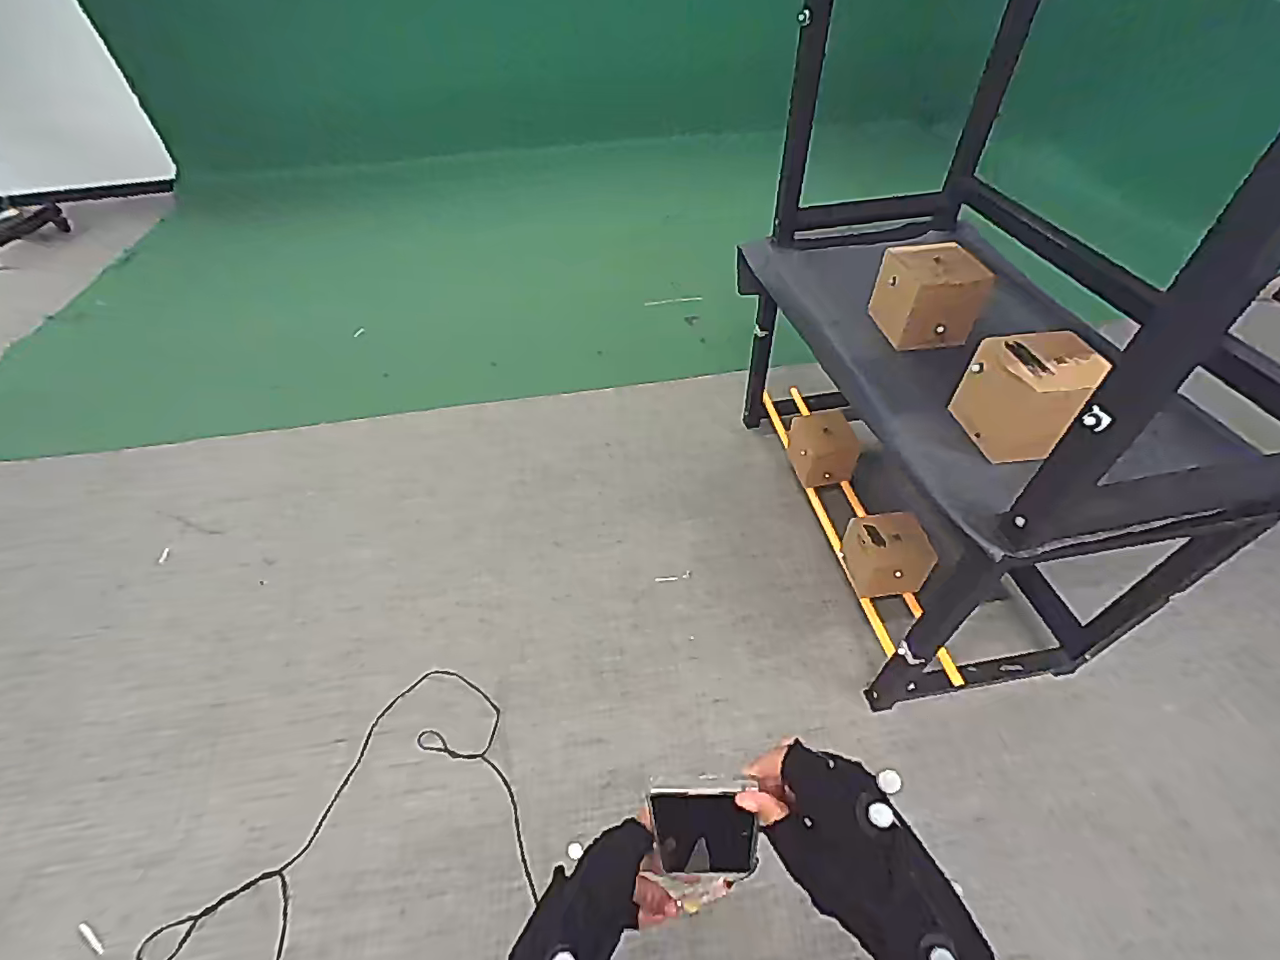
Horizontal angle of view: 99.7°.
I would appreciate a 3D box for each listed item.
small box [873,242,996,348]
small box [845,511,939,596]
[{"bbox_3d":[0.663,-0.426,1.245,0.168,0.176,0.179,-6,47,-2],"label":"small box"},{"bbox_3d":[0.689,0.209,1.509,0.179,0.176,0.168,-6,48,-2],"label":"small box"}]
